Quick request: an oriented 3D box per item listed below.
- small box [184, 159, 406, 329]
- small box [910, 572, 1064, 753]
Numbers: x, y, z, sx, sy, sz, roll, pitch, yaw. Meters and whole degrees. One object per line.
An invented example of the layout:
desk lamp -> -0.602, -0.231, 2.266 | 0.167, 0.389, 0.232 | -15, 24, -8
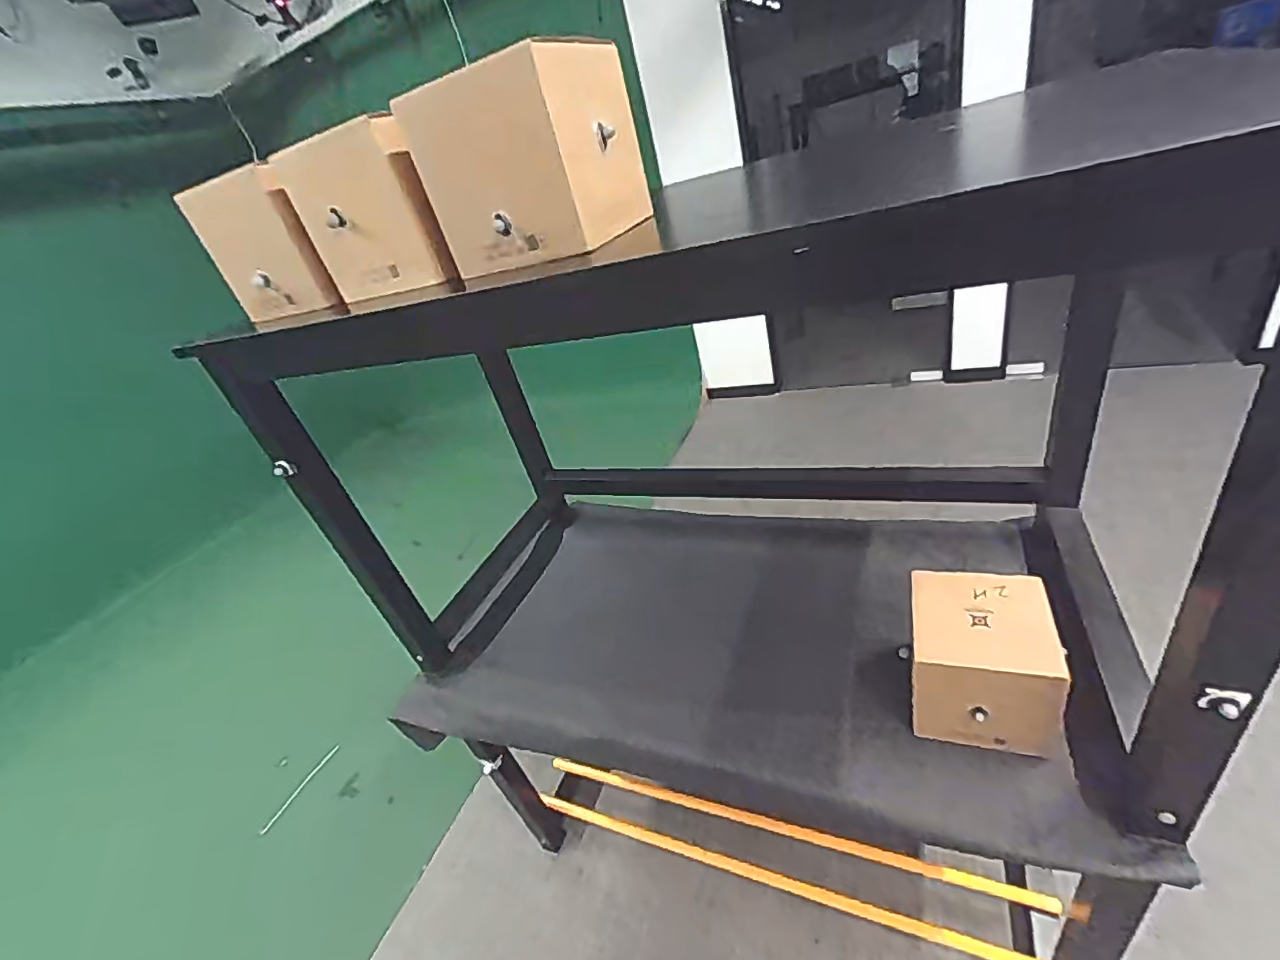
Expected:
small box -> -0.462, -0.327, 0.759 | 0.168, 0.176, 0.179 | -1, 35, 26
small box -> 0.480, 0.255, 0.773 | 0.168, 0.176, 0.179 | -1, 33, 26
